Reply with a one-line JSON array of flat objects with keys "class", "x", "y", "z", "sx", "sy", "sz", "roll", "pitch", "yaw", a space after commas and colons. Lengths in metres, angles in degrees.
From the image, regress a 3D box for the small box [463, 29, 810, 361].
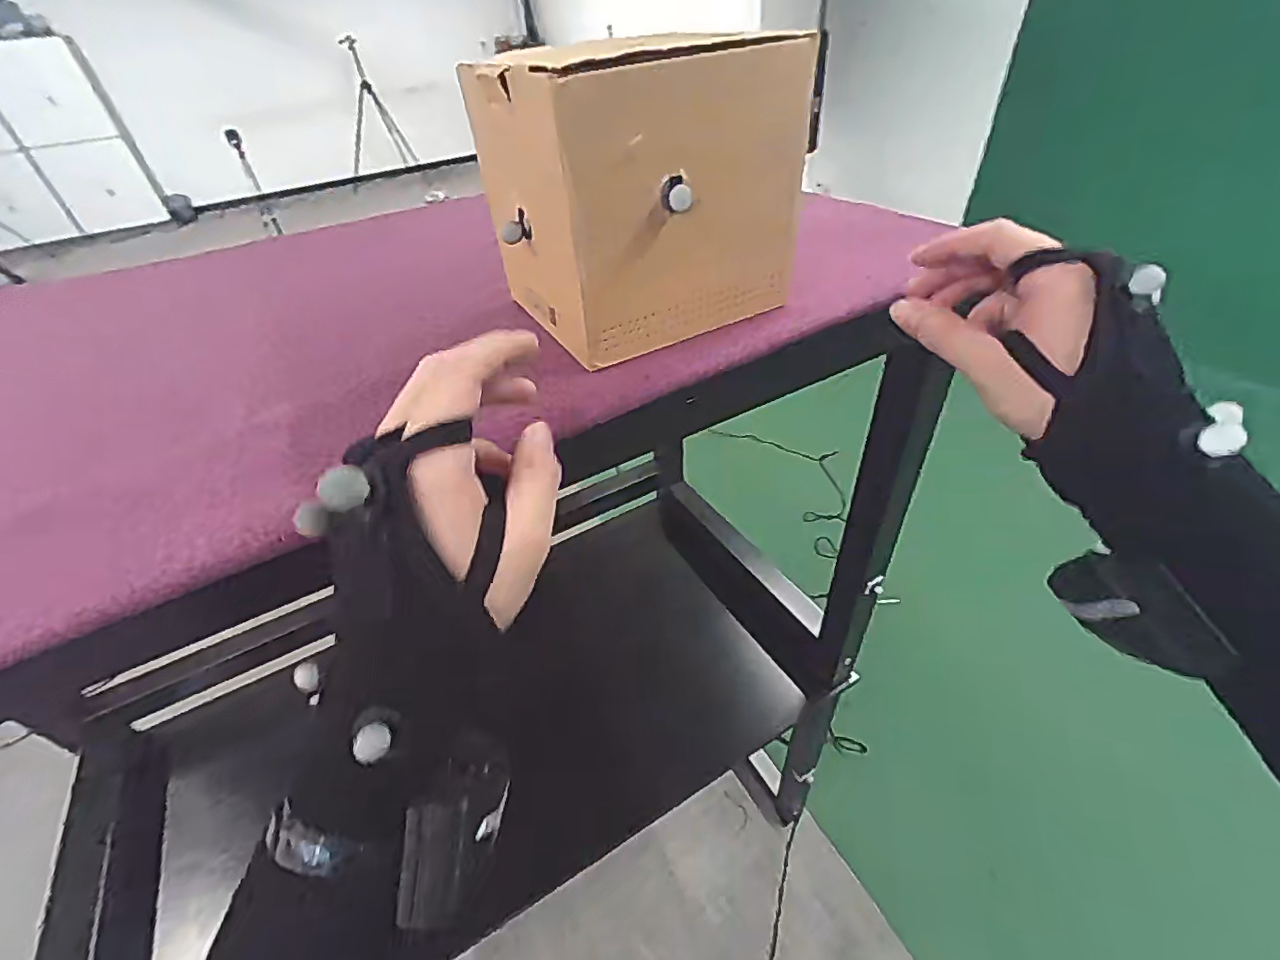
[{"class": "small box", "x": -0.002, "y": -0.209, "z": 0.398, "sx": 0.179, "sy": 0.176, "sz": 0.168, "roll": -24, "pitch": 45, "yaw": -18}]
